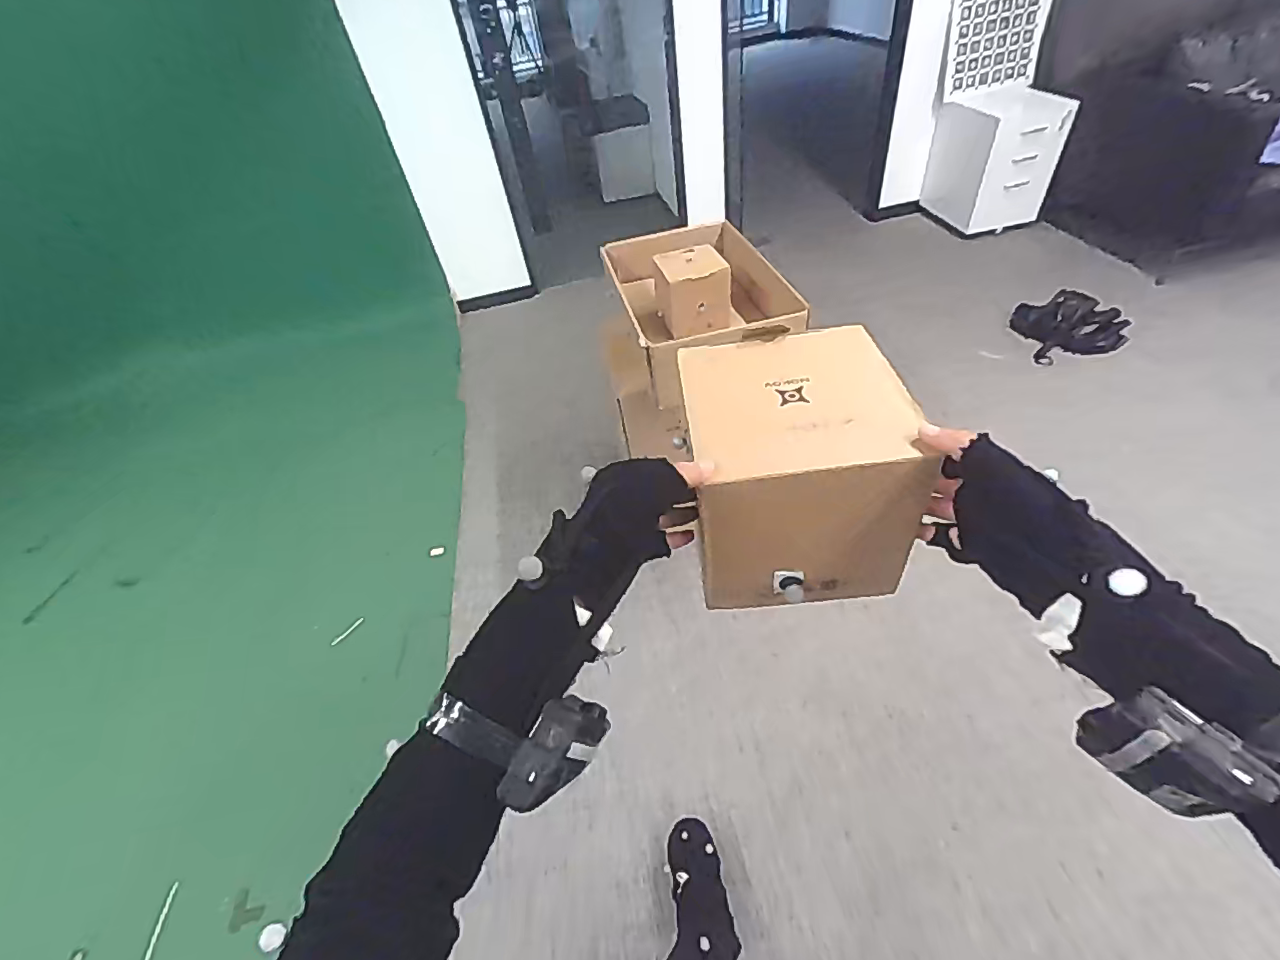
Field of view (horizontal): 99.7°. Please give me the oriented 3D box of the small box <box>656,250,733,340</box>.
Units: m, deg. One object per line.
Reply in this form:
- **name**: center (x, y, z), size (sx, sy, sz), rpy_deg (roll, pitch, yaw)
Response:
- **small box**: center (0.150, -0.499, 1.475), size (0.168, 0.176, 0.179), rpy_deg (-14, 45, -5)

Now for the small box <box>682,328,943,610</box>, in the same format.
- **small box**: center (0.128, -0.010, 0.476), size (0.168, 0.176, 0.179), rpy_deg (-7, 44, 4)
